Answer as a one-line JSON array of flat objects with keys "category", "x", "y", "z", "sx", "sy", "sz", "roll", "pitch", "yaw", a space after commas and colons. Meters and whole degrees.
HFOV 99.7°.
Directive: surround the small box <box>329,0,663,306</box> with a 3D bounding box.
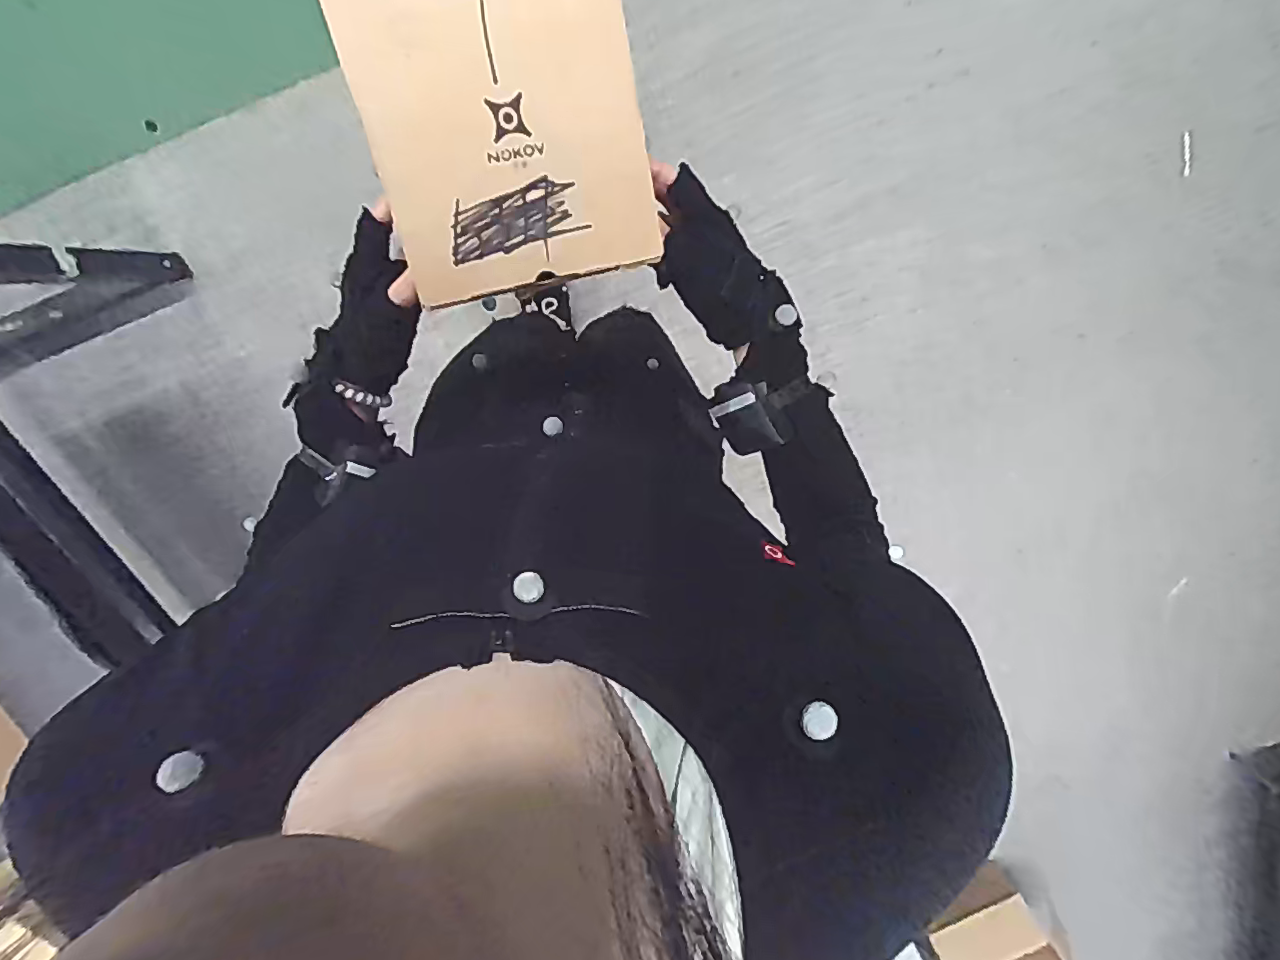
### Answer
[{"category": "small box", "x": -0.090, "y": -0.237, "z": 0.399, "sx": 0.168, "sy": 0.176, "sz": 0.179, "roll": -14, "pitch": 112, "yaw": -7}]
